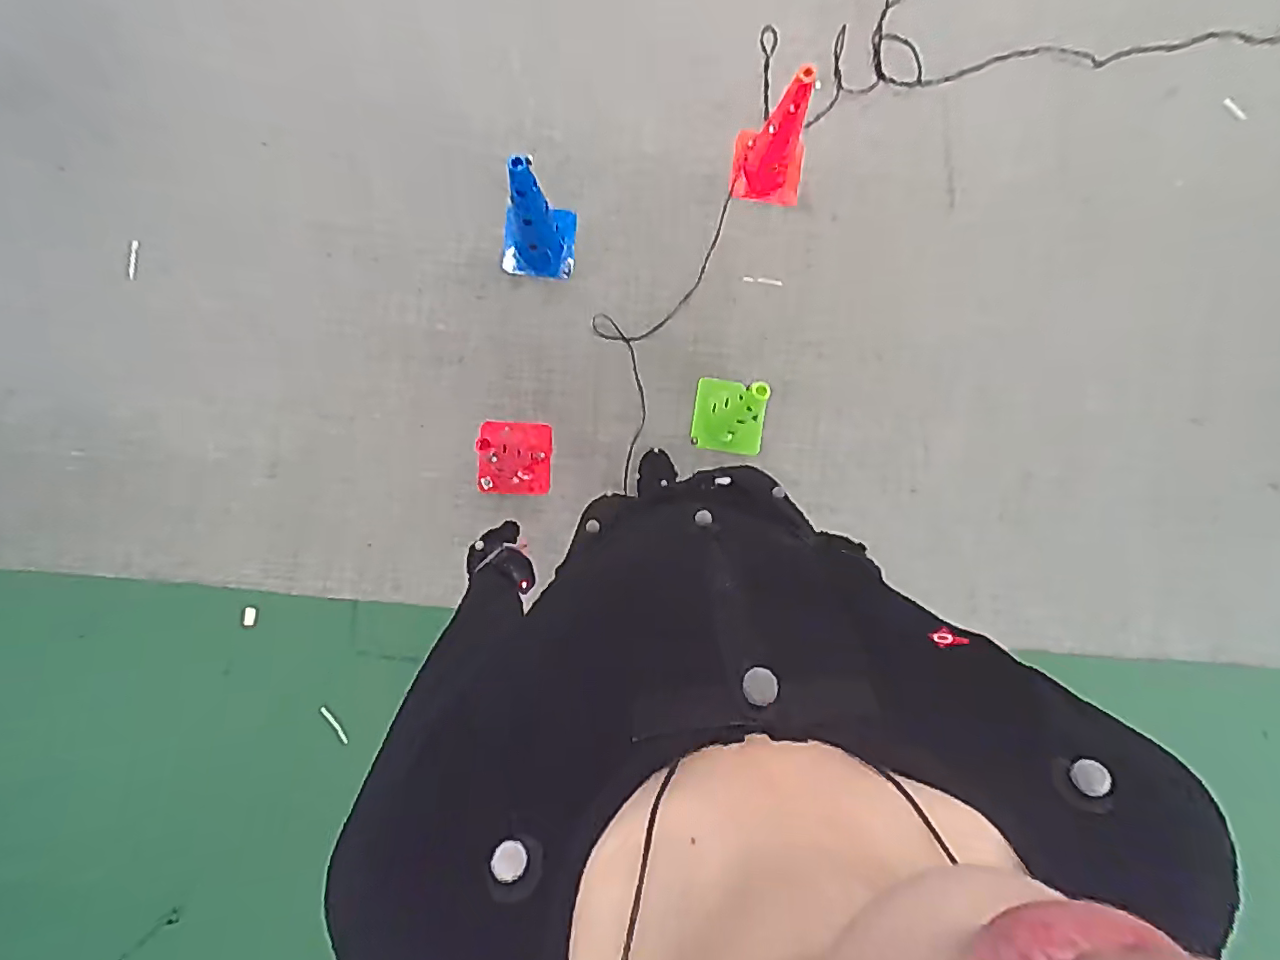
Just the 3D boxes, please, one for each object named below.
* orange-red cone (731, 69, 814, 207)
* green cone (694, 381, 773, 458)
[{"bbox_3d":[0.374,-0.902,1.392,0.198,0.360,0.199,10,88,0],"label":"orange-red cone"},{"bbox_3d":[0.267,-0.179,1.350,0.200,0.368,0.202,8,86,-2],"label":"green cone"}]
